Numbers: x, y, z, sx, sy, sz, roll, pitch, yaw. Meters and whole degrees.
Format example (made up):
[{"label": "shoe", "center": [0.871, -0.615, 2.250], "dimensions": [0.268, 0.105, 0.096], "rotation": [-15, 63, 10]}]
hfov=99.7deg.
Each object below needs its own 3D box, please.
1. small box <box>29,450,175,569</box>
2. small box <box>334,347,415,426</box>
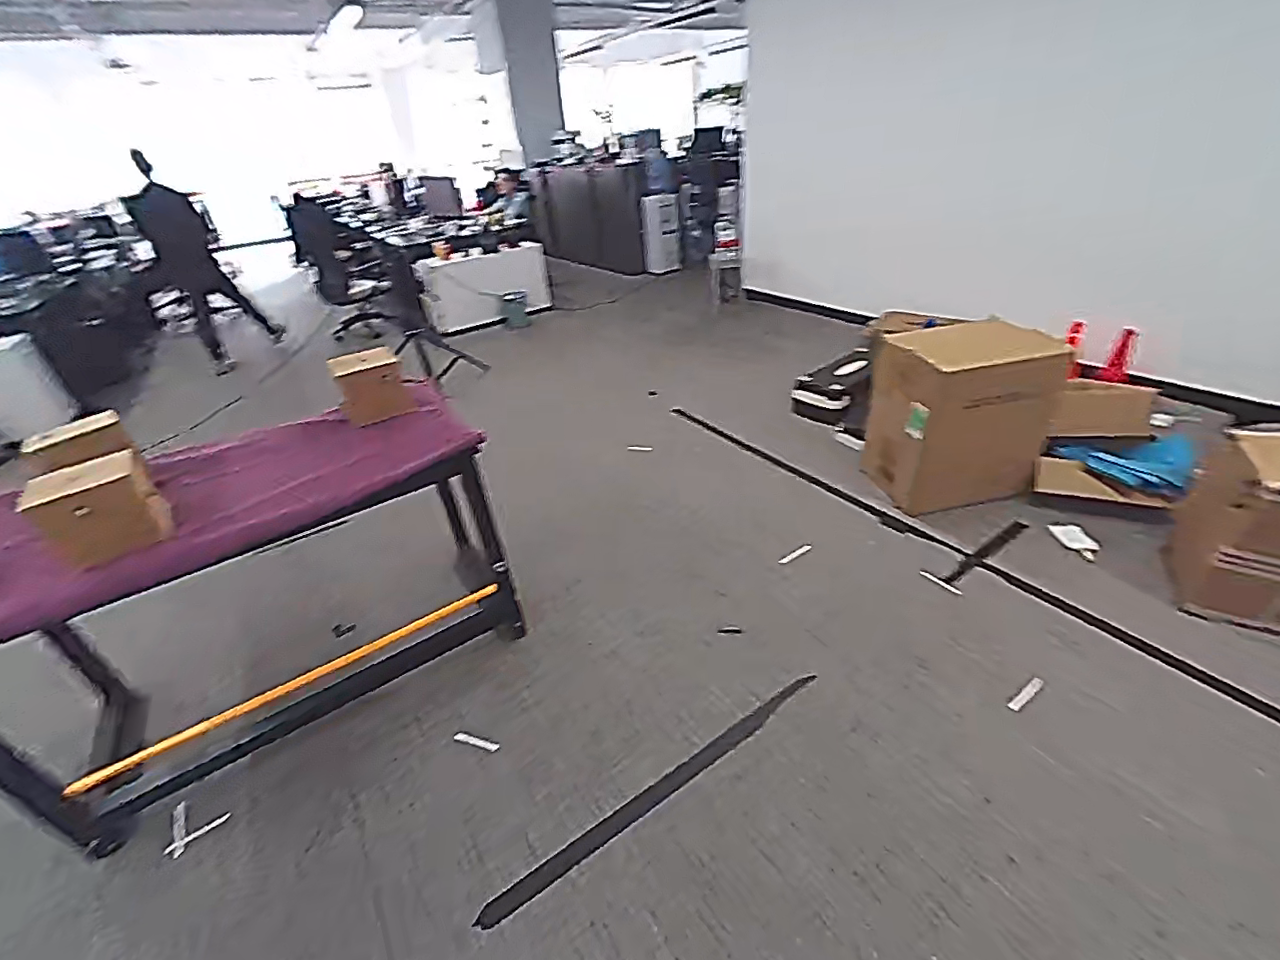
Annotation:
[{"label": "small box", "center": [-1.163, 0.062, 1.188], "dimensions": [0.179, 0.176, 0.168], "rotation": [-28, 38, -30]}, {"label": "small box", "center": [-0.812, -0.288, 1.666], "dimensions": [0.179, 0.176, 0.168], "rotation": [-24, 38, -26]}]
